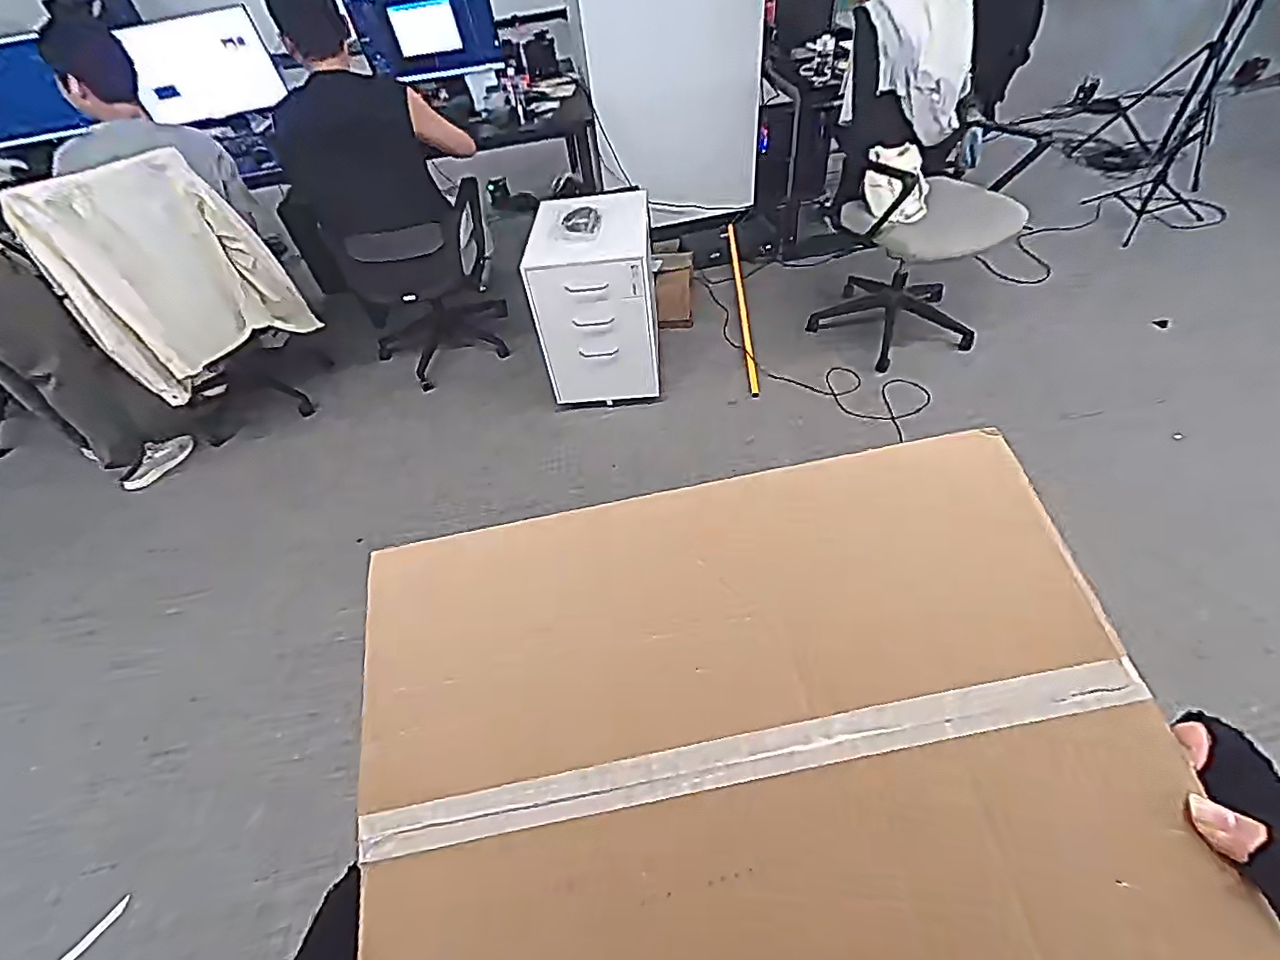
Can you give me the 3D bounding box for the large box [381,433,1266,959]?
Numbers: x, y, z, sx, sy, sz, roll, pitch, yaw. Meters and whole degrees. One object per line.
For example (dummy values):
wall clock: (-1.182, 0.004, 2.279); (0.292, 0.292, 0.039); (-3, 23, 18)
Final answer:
large box: (0.069, 0.209, 0.424); (0.408, 0.320, 0.320); (-12, 64, 0)
